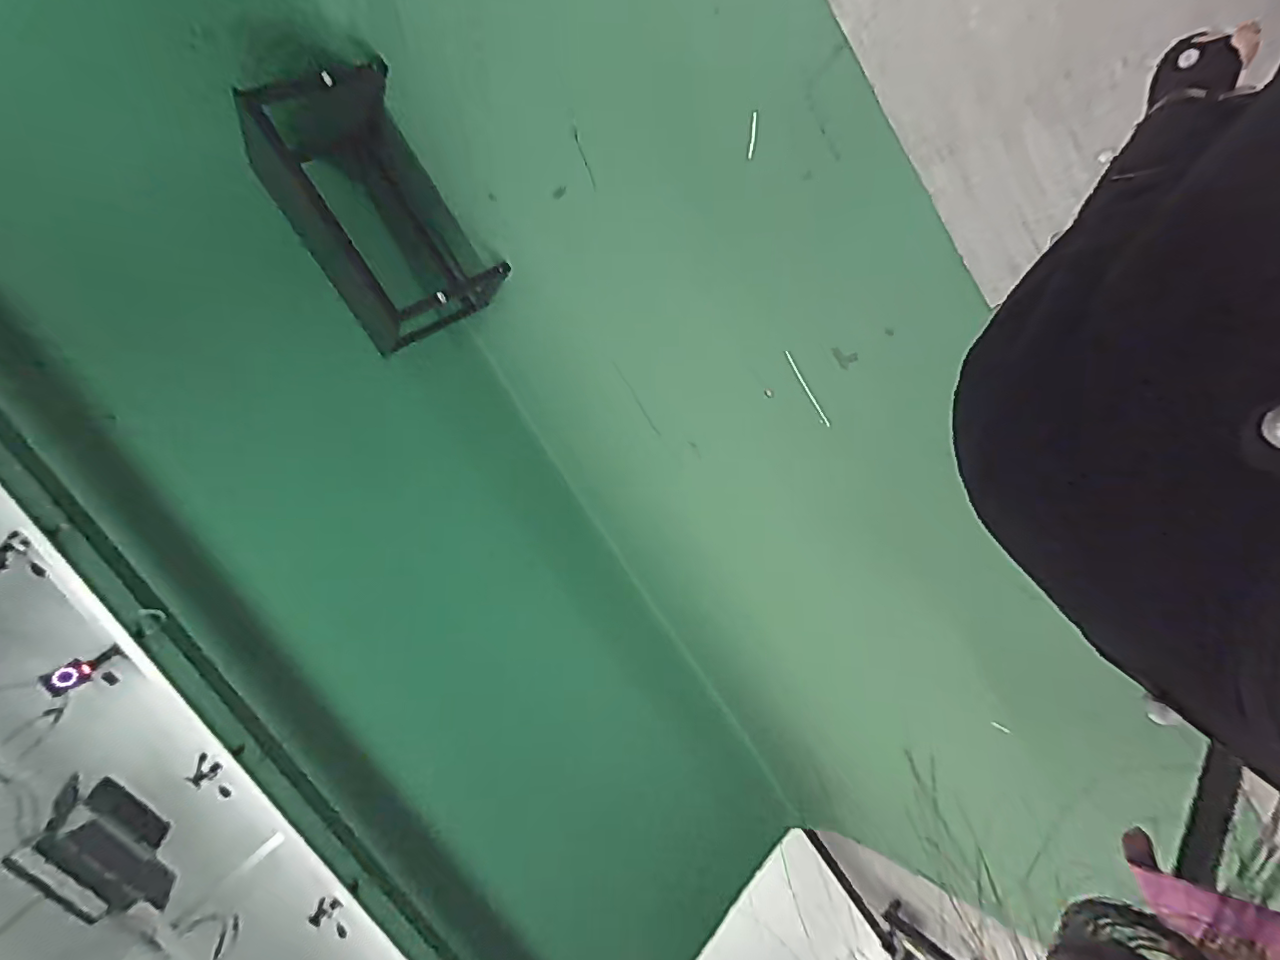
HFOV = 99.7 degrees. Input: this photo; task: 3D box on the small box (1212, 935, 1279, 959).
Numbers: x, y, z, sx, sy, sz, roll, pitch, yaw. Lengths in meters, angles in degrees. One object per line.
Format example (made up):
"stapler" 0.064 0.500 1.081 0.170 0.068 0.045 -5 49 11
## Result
"small box" 1.120 0.942 0.924 0.168 0.176 0.179 54 153 -5
